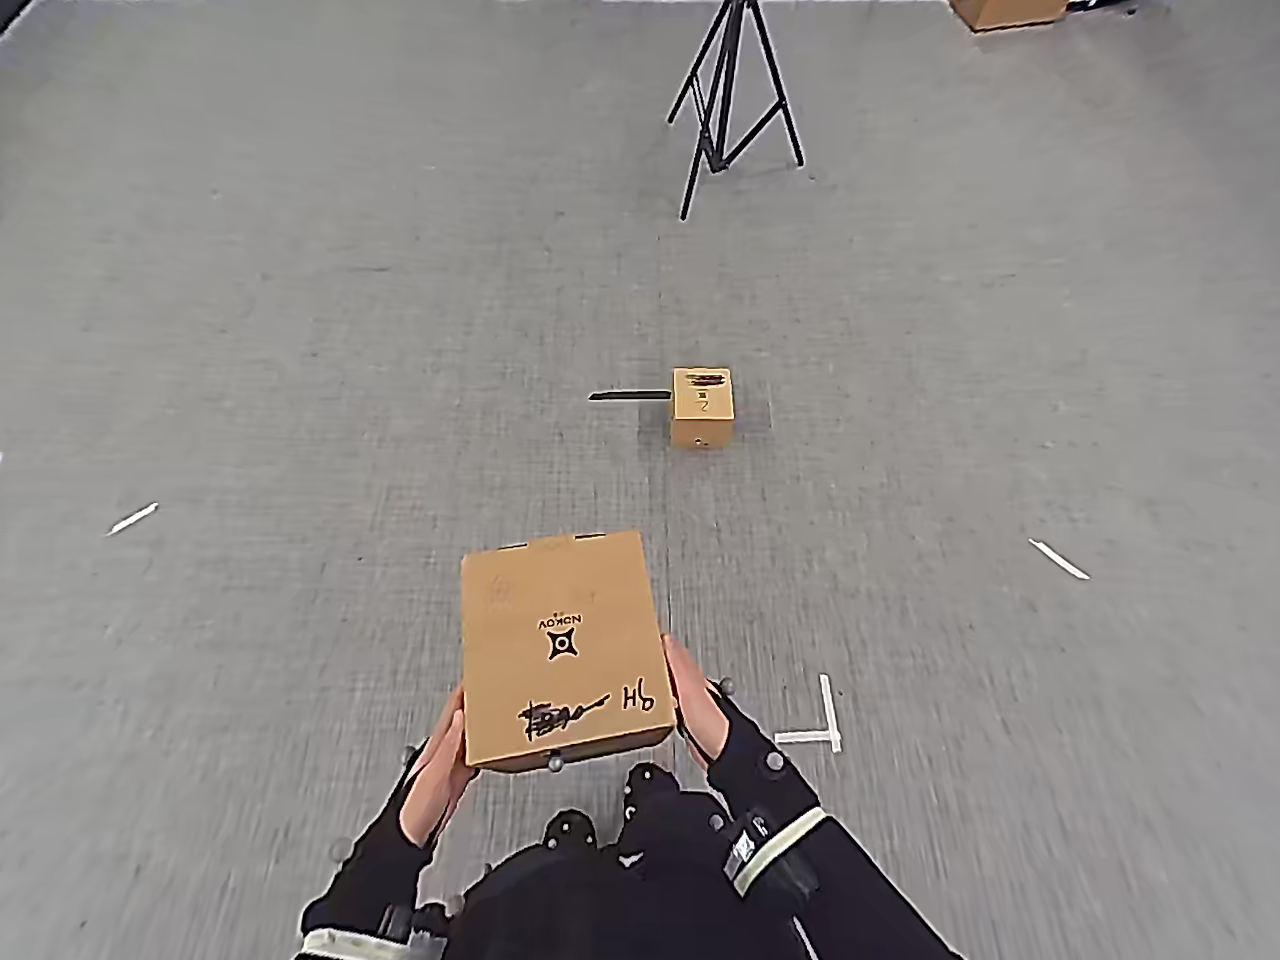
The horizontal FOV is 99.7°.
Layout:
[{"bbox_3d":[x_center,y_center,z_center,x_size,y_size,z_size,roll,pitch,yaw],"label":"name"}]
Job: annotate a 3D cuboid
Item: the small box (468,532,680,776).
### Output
[{"bbox_3d":[-0.066,0.172,0.525,0.168,0.176,0.179,-8,60,-7],"label":"small box"}]
